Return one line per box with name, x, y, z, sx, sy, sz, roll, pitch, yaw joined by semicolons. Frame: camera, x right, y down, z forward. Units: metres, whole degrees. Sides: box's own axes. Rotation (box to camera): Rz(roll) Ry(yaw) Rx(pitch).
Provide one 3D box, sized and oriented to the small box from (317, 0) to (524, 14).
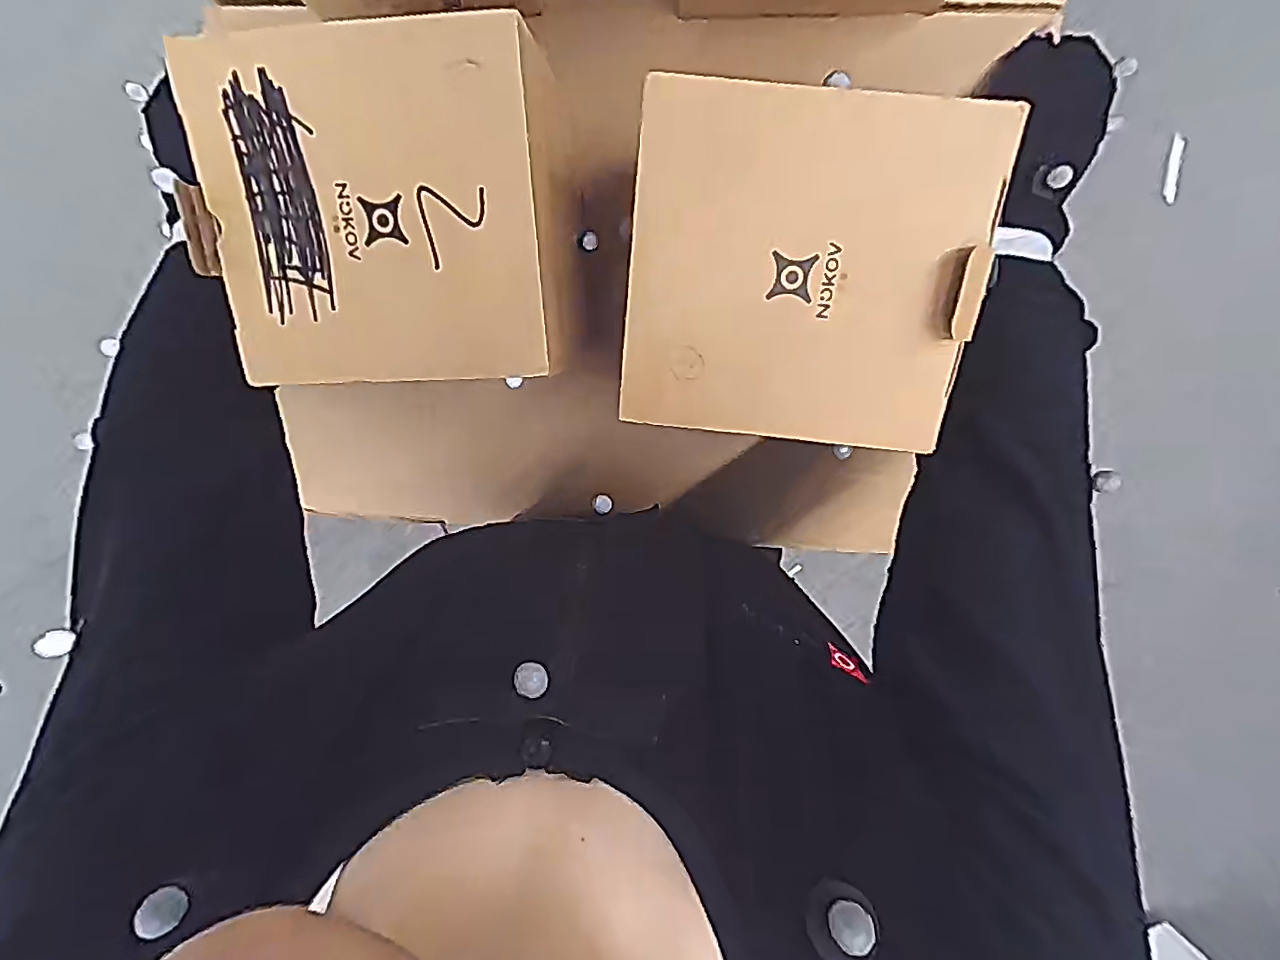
small box;-0.161;-0.394;0.292;0.168;0.176;0.179;2;104;4
